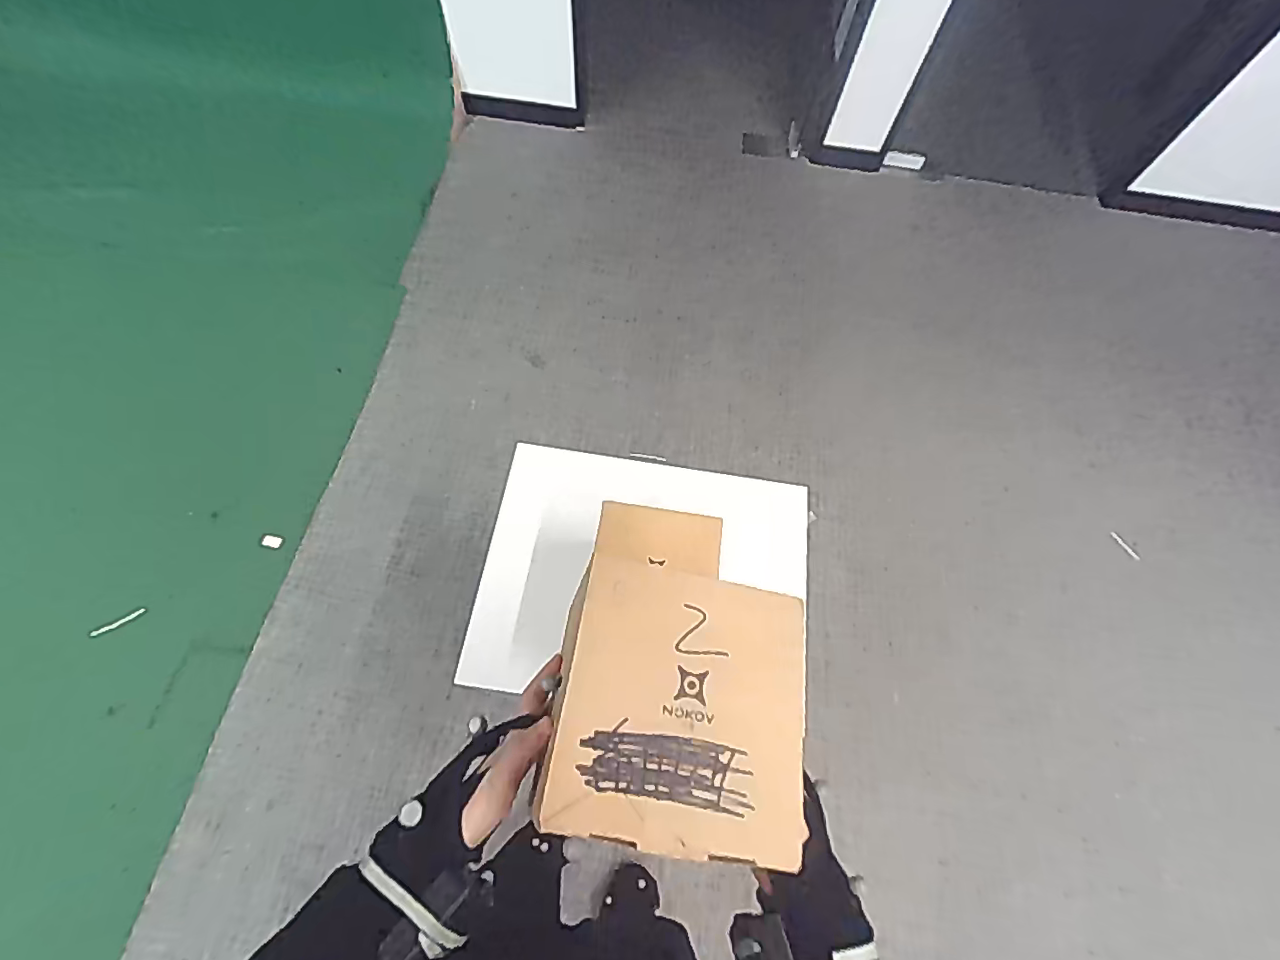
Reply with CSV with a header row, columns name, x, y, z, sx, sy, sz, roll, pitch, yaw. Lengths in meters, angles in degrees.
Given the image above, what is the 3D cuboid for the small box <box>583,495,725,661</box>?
name,x,y,z,sx,sy,sz,roll,pitch,yaw
small box,0.016,0.142,0.754,0.168,0.176,0.179,8,65,0
